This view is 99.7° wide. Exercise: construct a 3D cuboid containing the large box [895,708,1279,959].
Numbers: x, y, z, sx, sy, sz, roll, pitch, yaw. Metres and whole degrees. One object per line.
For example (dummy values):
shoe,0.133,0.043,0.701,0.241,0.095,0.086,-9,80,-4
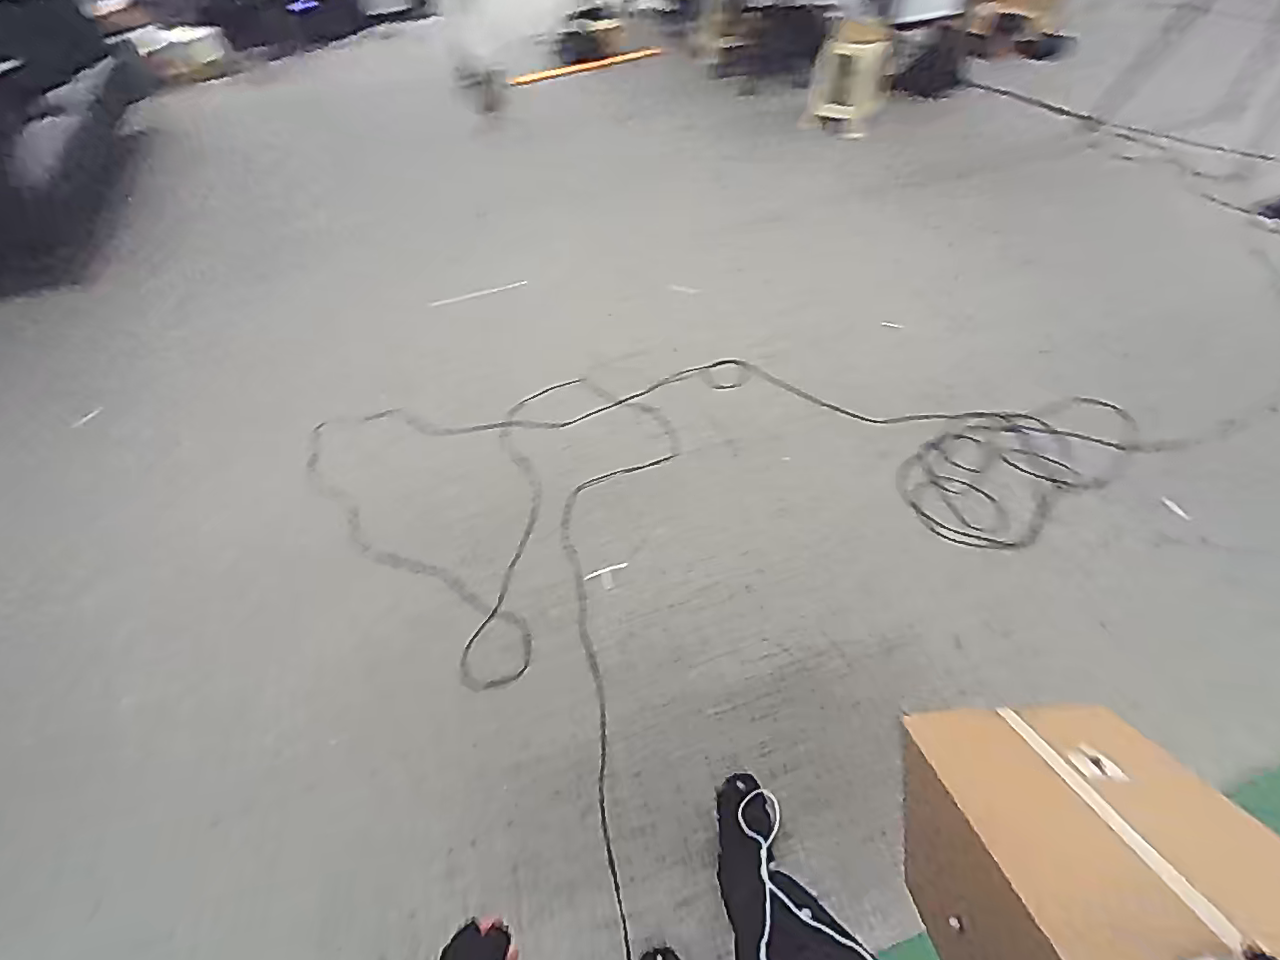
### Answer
large box,0.578,0.560,0.704,0.320,0.320,0.408,-5,8,4
